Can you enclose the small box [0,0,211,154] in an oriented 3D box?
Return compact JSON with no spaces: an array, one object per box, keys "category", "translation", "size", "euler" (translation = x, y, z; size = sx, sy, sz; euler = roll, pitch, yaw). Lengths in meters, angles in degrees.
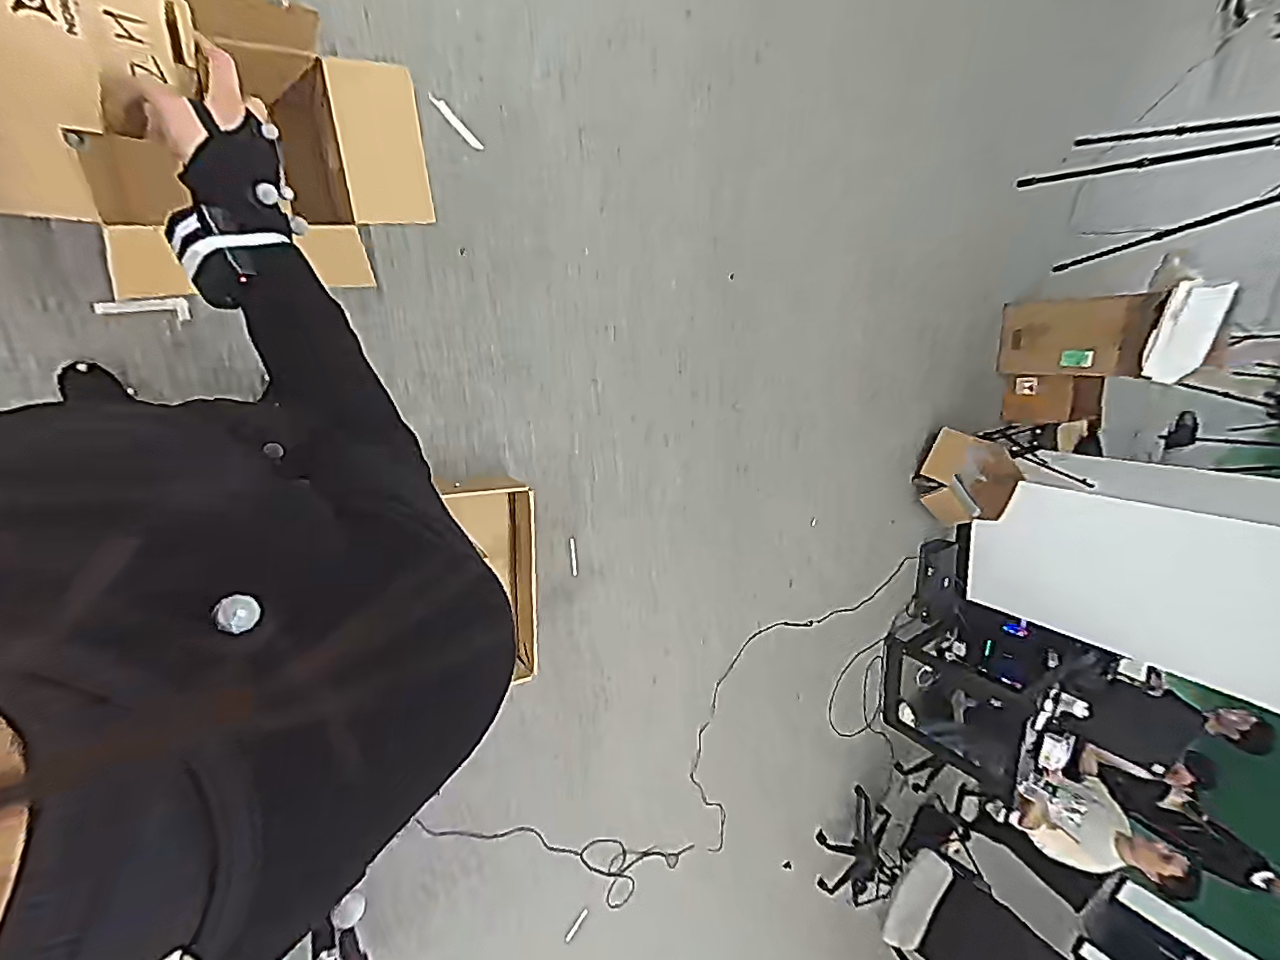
[{"category":"small box","translation":[-0.489,-0.386,0.454],"size":[0.179,0.176,0.168],"euler":[-13,126,-37]}]
